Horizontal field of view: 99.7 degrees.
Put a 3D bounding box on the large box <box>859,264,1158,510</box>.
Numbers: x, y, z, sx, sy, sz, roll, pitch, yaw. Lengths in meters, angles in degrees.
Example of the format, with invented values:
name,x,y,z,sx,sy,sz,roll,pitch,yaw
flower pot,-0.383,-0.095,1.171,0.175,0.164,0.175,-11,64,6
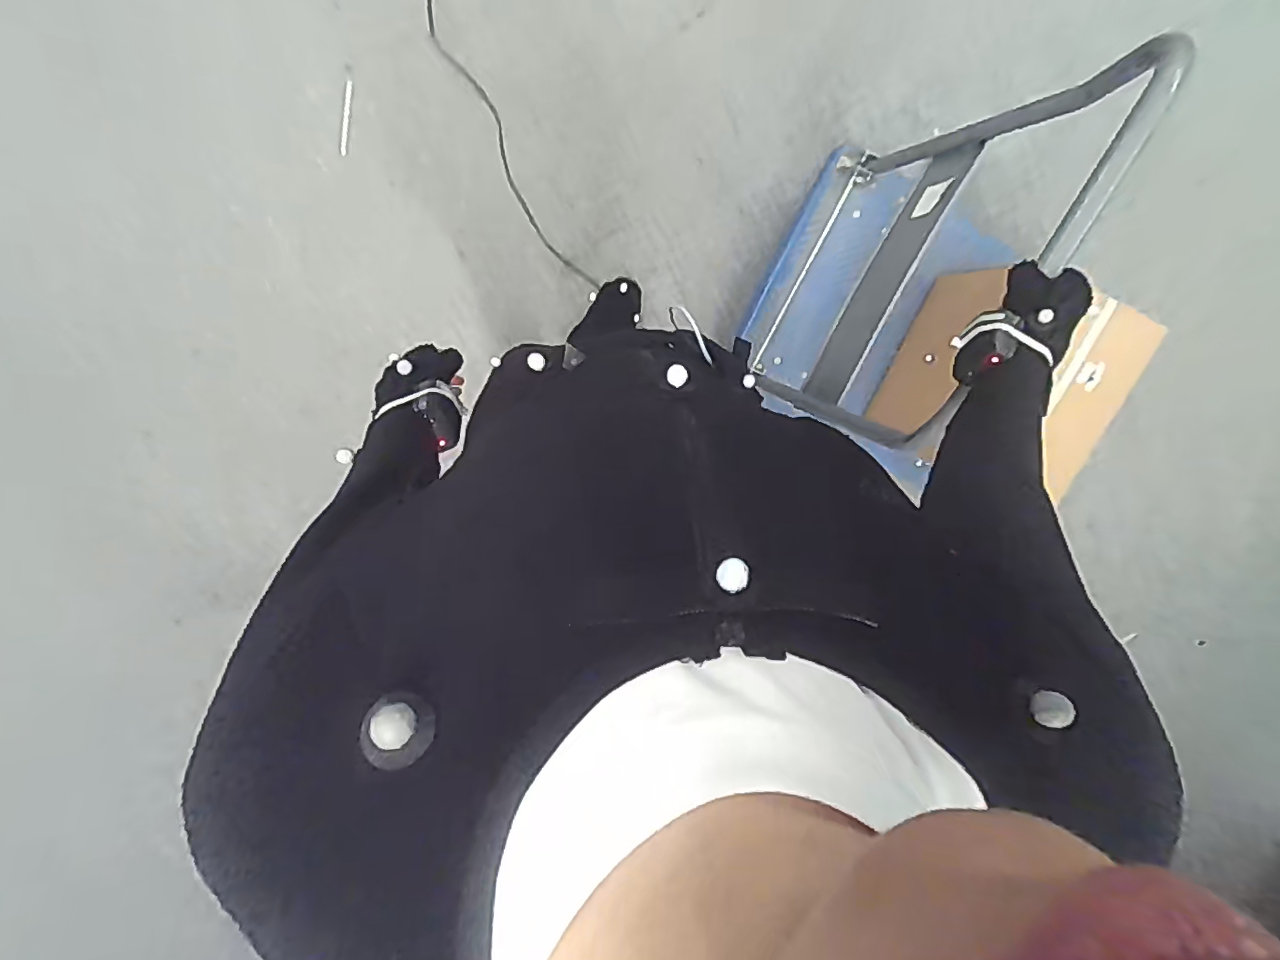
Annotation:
name,x,y,z,sx,sy,sz,roll,pitch,yaw
large box,0.764,-0.202,1.187,0.320,0.320,0.408,20,103,-13
